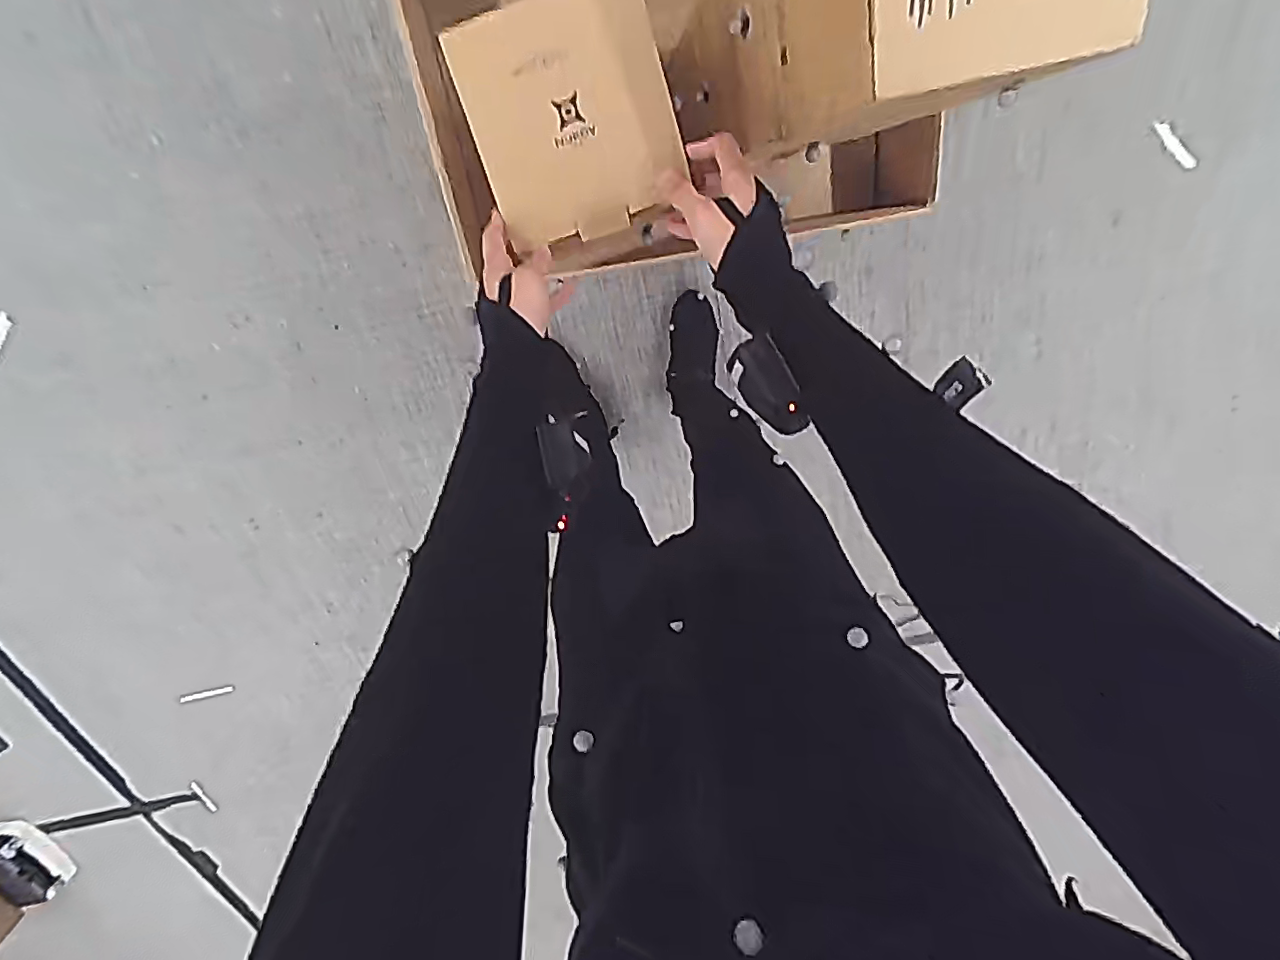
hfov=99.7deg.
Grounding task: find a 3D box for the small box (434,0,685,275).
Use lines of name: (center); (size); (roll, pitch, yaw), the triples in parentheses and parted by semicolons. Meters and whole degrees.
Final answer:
small box: (-0.060, -0.309, 0.520); (0.168, 0.176, 0.179); (-17, 104, 6)
